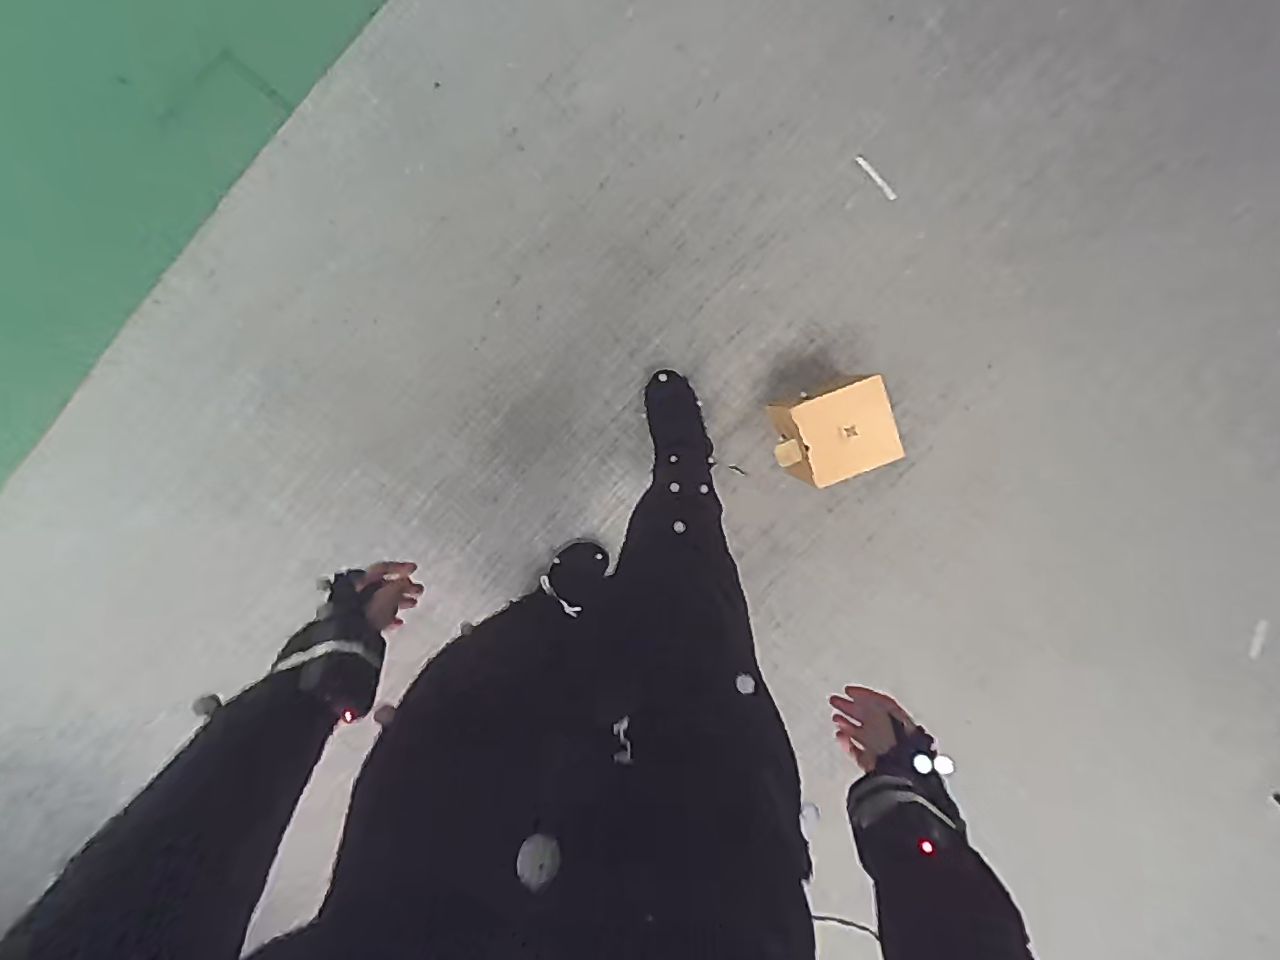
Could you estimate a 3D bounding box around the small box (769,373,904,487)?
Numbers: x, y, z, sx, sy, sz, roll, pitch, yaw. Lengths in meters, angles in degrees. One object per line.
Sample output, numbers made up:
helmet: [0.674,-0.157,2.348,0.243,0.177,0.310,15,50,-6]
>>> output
small box: [0.377,-0.105,1.064,0.179,0.176,0.168,-22,101,2]
